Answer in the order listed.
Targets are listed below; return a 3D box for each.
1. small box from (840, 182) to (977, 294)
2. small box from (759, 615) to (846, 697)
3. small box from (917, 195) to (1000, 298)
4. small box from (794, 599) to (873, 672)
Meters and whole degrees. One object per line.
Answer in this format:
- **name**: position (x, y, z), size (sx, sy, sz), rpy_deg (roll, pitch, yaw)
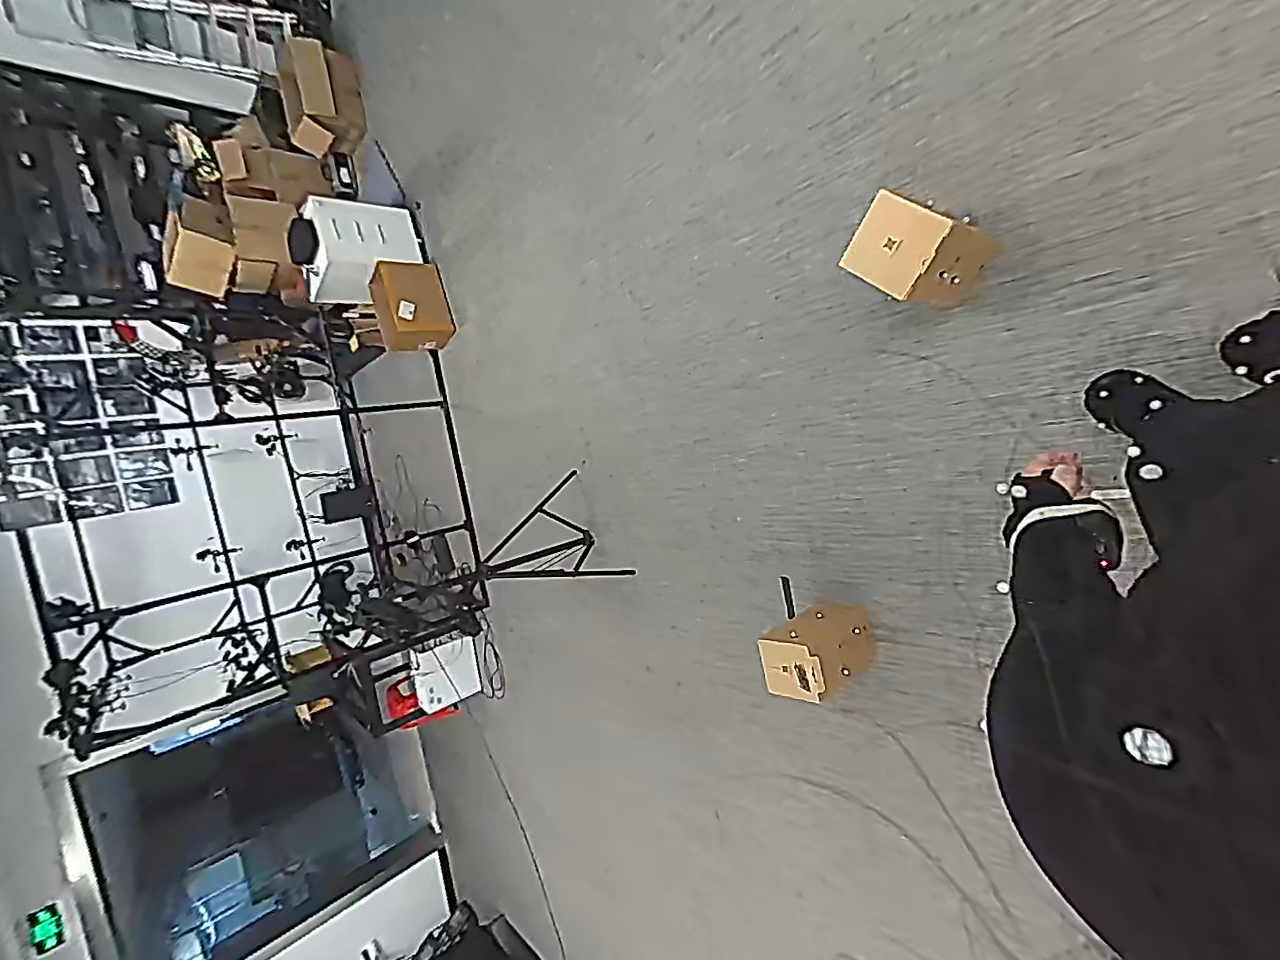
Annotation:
- **small box**: position (0.579, -0.514, 1.168), size (0.179, 0.176, 0.168), rpy_deg (46, 130, 28)
- **small box**: position (0.481, 0.503, 1.576), size (0.179, 0.176, 0.168), rpy_deg (-10, 93, 50)
- **small box**: position (0.699, -0.543, 1.276), size (0.179, 0.176, 0.168), rpy_deg (47, 131, 29)
- **small box**: position (0.603, 0.477, 1.684), size (0.179, 0.176, 0.168), rpy_deg (-12, 91, 50)
